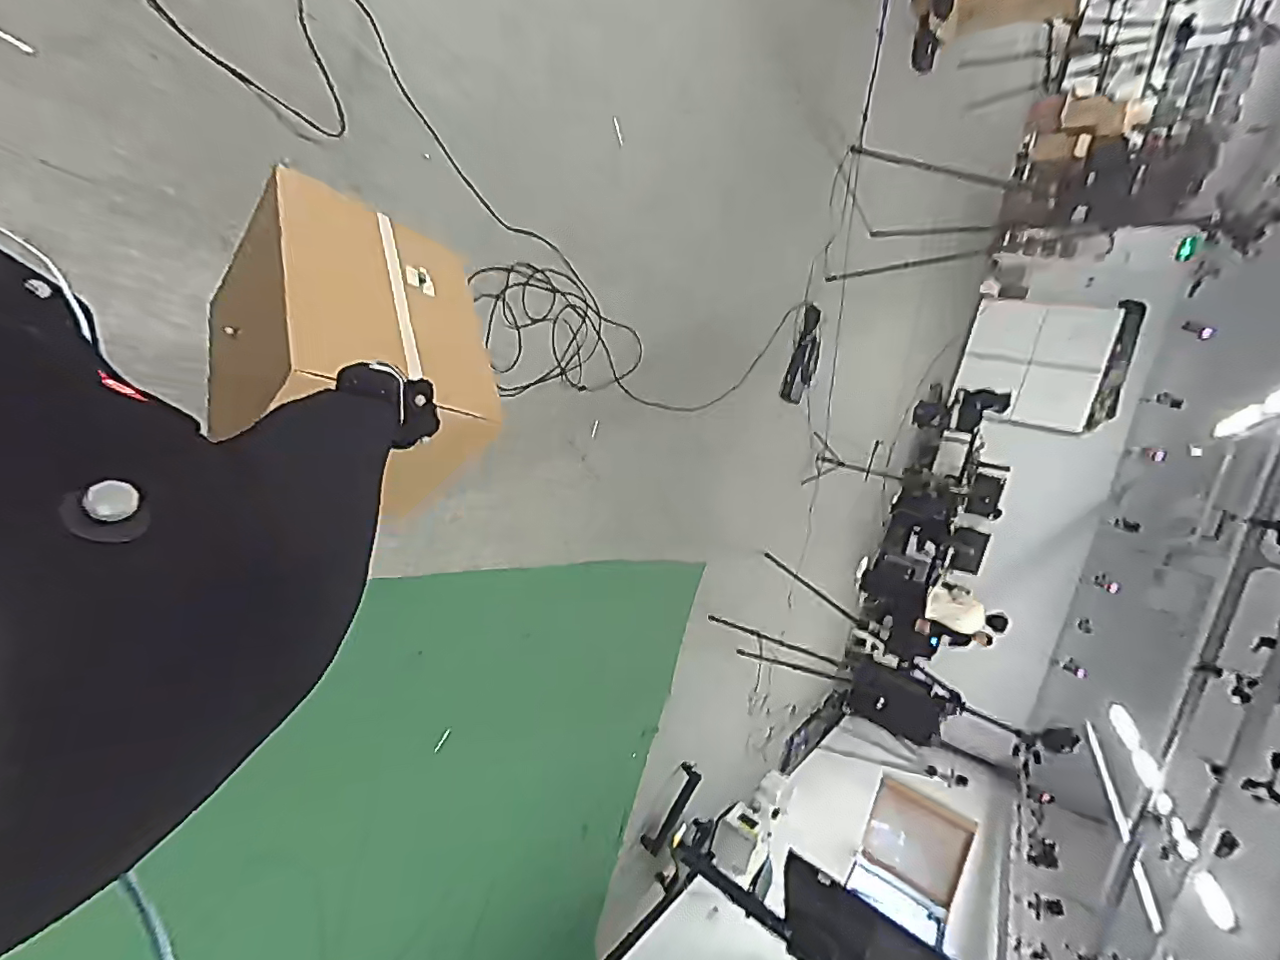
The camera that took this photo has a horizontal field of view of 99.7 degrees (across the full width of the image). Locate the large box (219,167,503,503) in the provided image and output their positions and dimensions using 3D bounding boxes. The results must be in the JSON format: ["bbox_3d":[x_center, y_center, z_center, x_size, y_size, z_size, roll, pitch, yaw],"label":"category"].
[{"bbox_3d":[-0.487,-0.210,0.922,0.320,0.408,0.320,-36,152,29],"label":"large box"}]
